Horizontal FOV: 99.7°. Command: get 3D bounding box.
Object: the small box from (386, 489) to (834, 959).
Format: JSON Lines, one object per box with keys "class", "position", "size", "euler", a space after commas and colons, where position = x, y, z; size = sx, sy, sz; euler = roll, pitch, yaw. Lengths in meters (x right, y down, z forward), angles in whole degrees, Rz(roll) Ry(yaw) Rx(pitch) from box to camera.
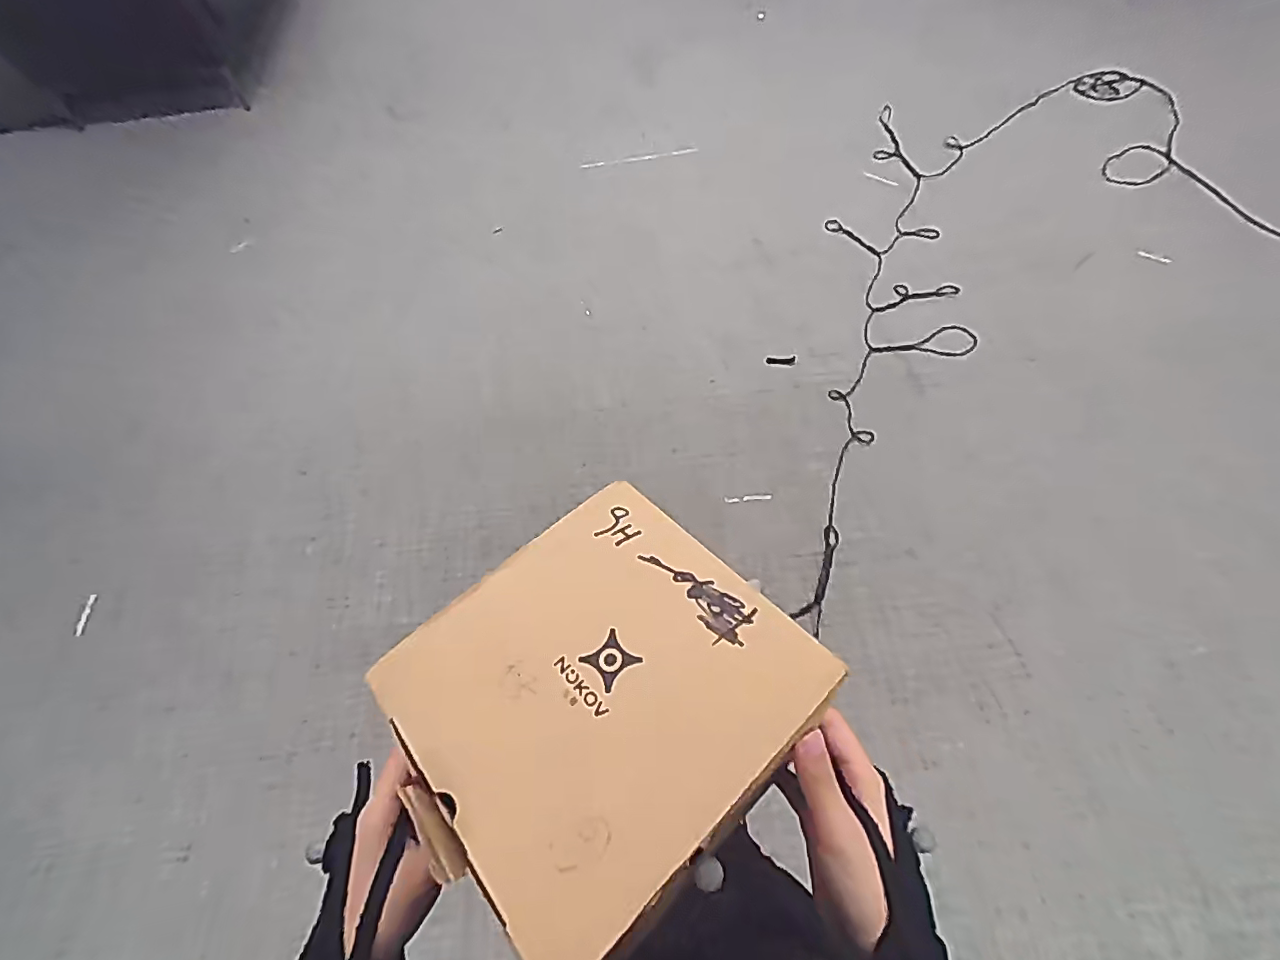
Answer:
{"class": "small box", "position": [-0.010, 0.147, 0.335], "size": [0.179, 0.176, 0.168], "euler": [-38, 57, -21]}
